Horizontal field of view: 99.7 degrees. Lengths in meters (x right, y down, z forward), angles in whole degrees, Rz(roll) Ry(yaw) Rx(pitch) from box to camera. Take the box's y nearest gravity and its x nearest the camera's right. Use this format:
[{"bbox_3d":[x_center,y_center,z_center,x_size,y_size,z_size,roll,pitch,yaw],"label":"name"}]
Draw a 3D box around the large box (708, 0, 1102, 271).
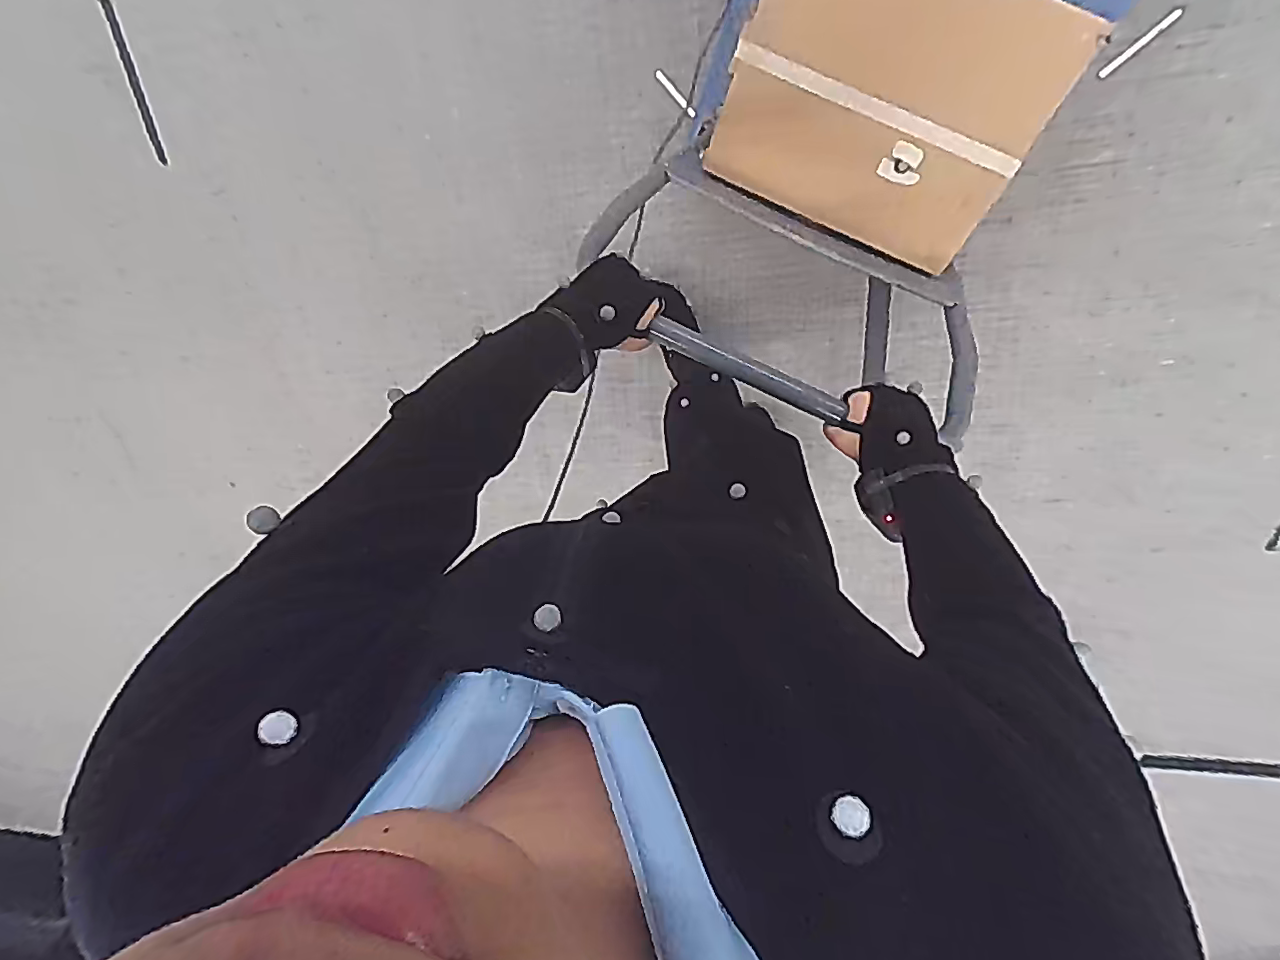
[{"bbox_3d":[0.370,-0.596,0.861,0.408,0.320,0.320,25,132,2],"label":"large box"}]
